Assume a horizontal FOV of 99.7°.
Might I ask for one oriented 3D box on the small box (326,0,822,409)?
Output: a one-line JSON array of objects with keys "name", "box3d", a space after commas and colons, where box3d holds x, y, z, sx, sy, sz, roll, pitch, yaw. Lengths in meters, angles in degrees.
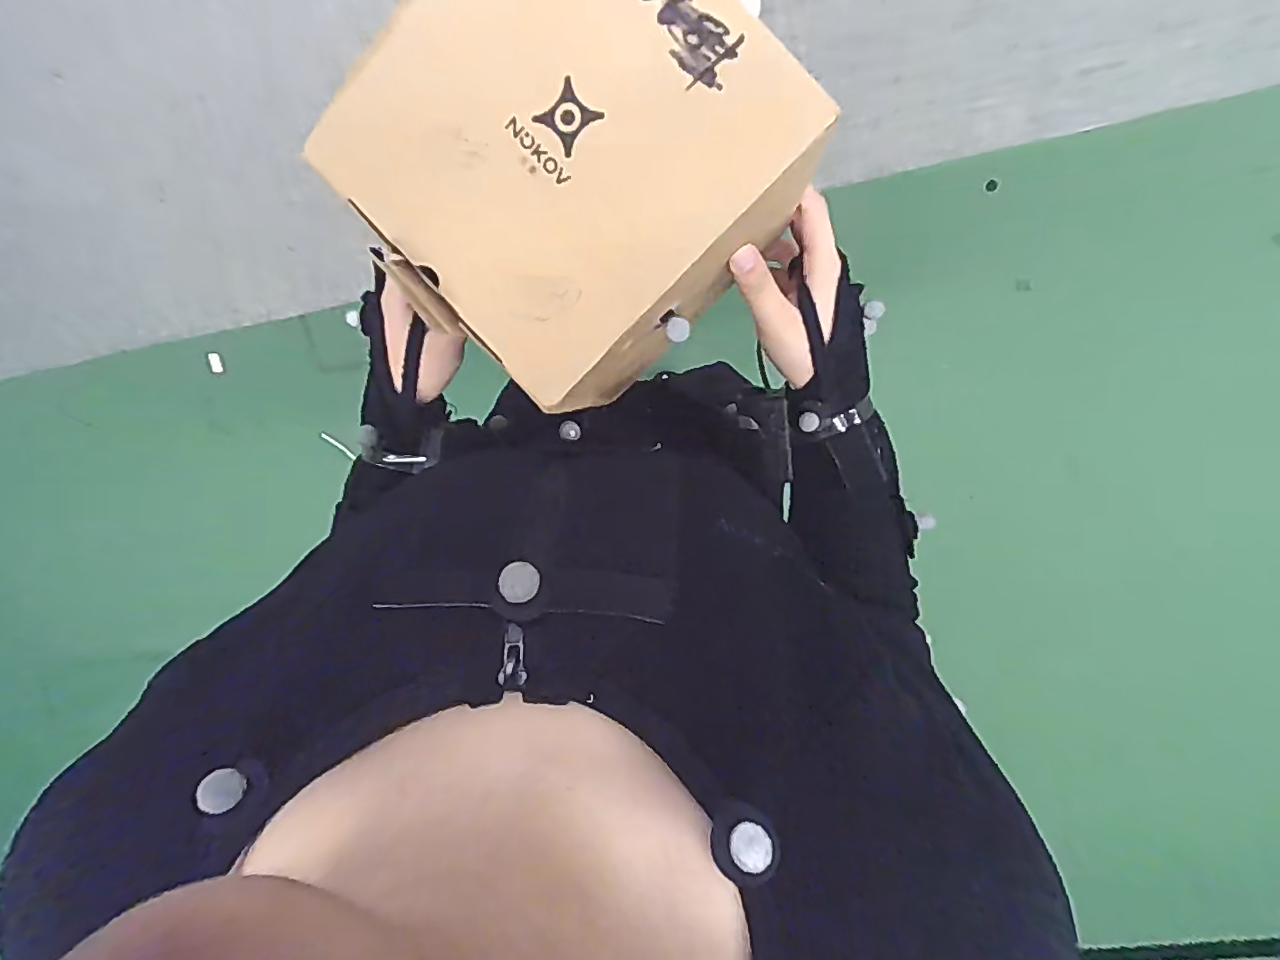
[{"name": "small box", "box3d": [-0.025, -0.161, 0.320, 0.179, 0.176, 0.168, -43, 92, 12]}]
